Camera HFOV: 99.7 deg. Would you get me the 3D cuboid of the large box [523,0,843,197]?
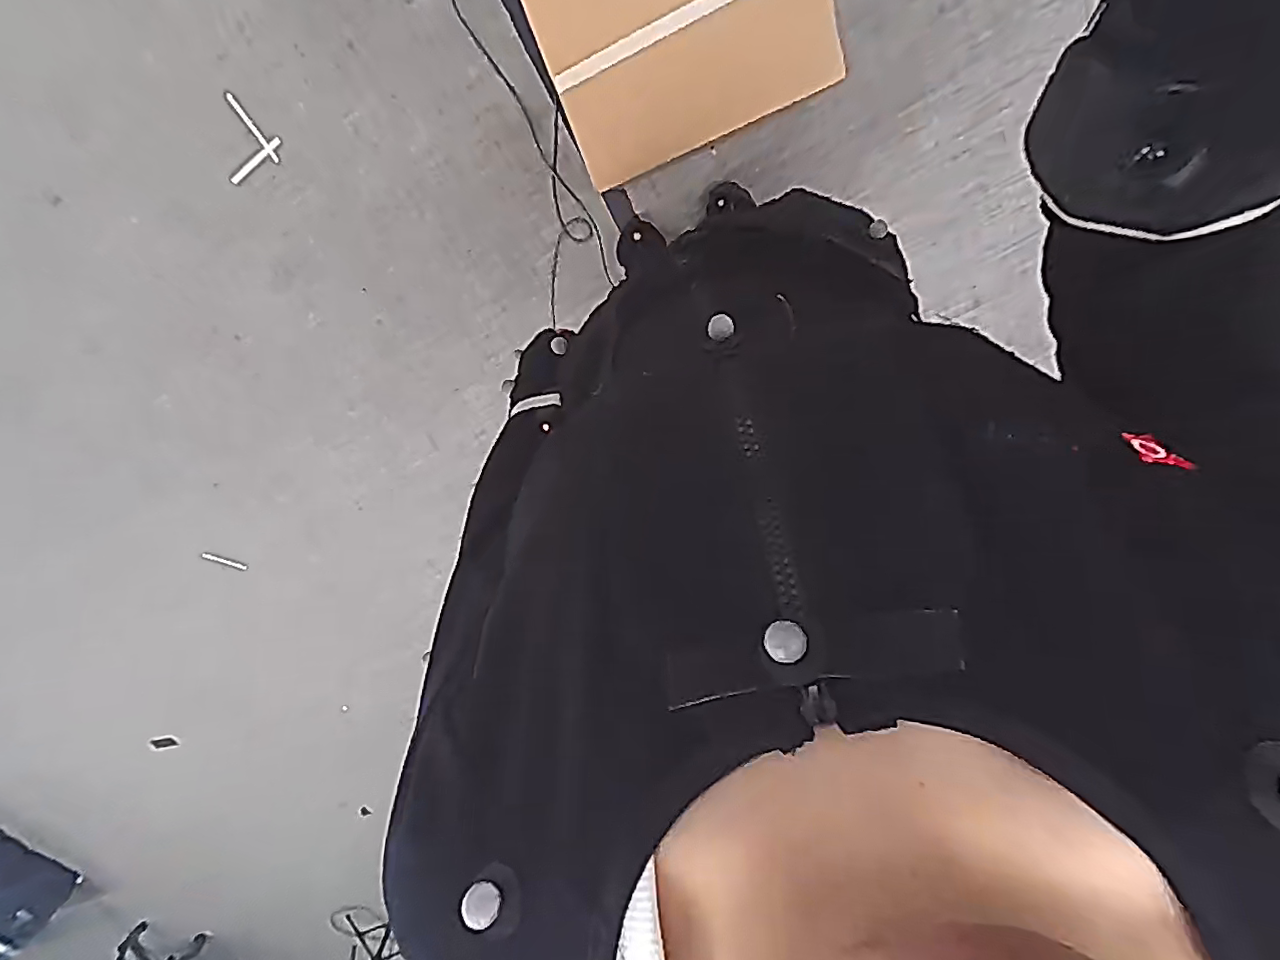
[{"bbox_3d":[0.070,-0.720,0.909,0.408,0.320,0.320,-18,117,14],"label":"large box"}]
